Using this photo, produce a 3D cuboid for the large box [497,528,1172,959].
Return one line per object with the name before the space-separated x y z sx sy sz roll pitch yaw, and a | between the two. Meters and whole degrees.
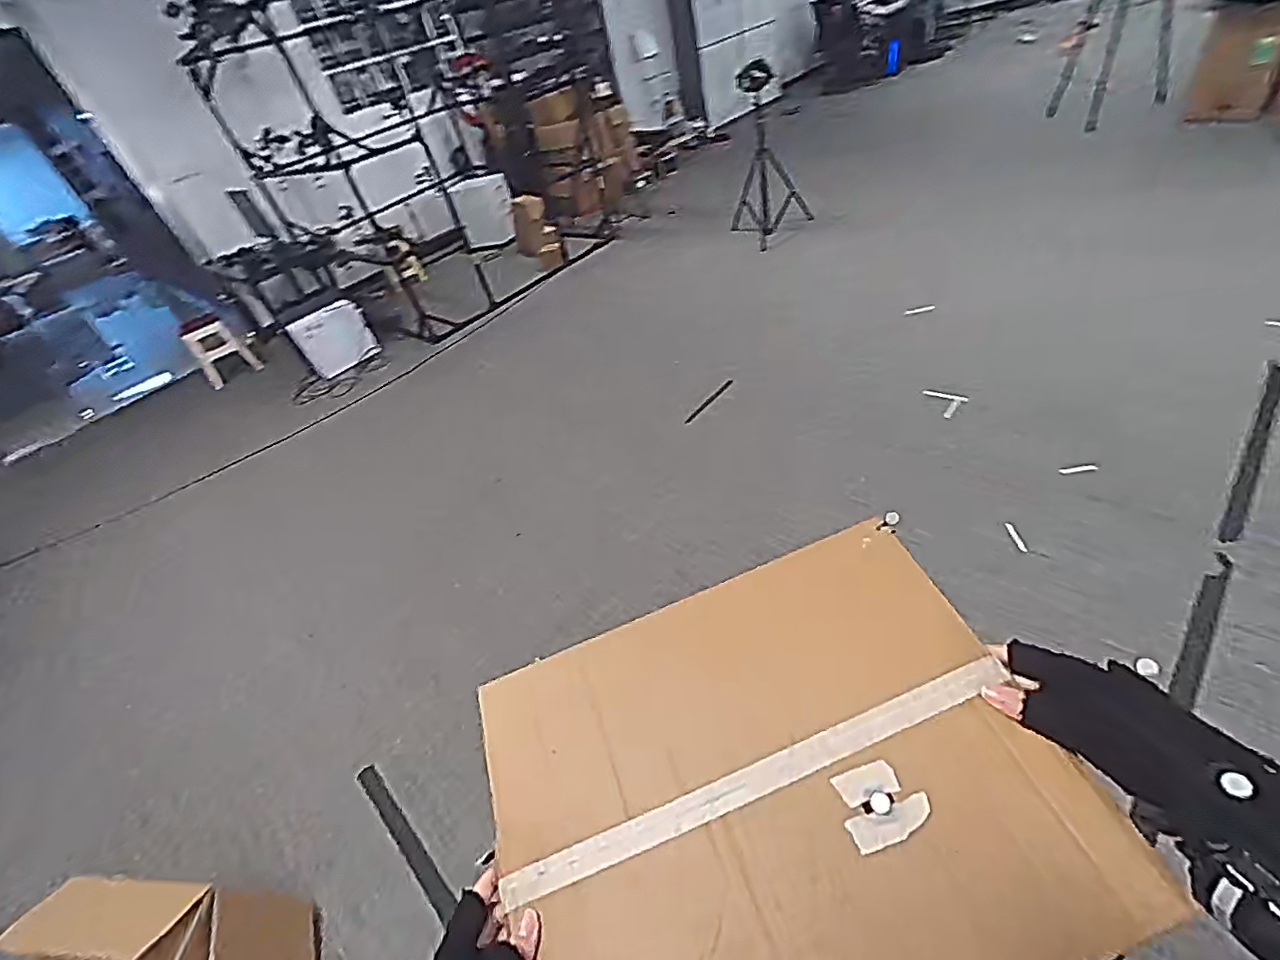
large box | 0.127 0.317 0.527 0.408 0.320 0.320 -22 51 -4
